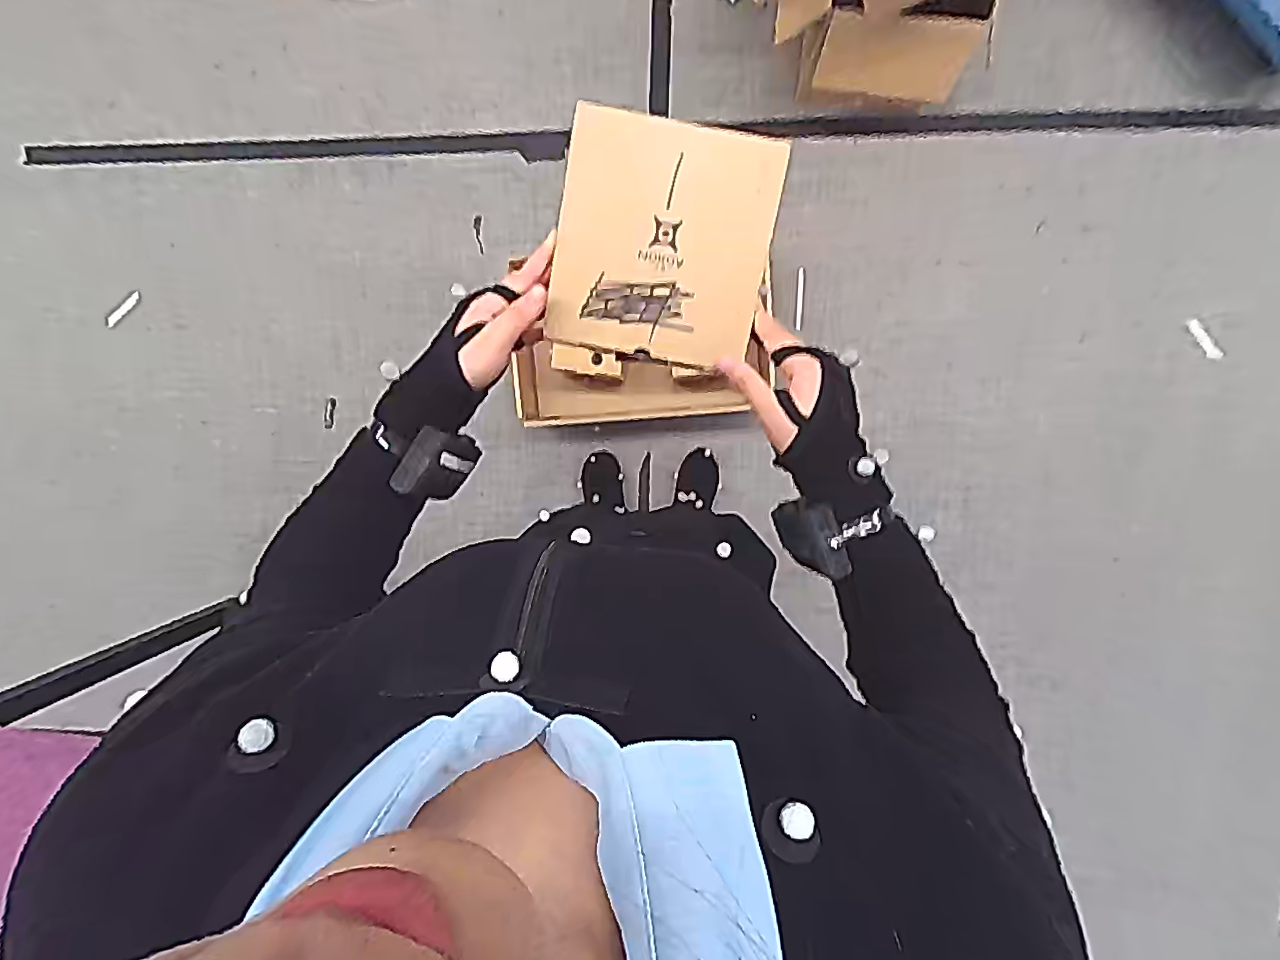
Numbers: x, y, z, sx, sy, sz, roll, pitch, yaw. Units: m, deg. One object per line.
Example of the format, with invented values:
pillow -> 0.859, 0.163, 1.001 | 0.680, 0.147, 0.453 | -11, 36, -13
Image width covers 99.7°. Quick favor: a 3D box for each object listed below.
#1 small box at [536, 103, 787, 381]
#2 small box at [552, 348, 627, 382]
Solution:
small box -> 0.016, -0.193, 0.490 | 0.168, 0.176, 0.179 | 11, 102, -1
small box -> -0.114, -0.342, 1.328 | 0.168, 0.176, 0.179 | 7, 96, 1
